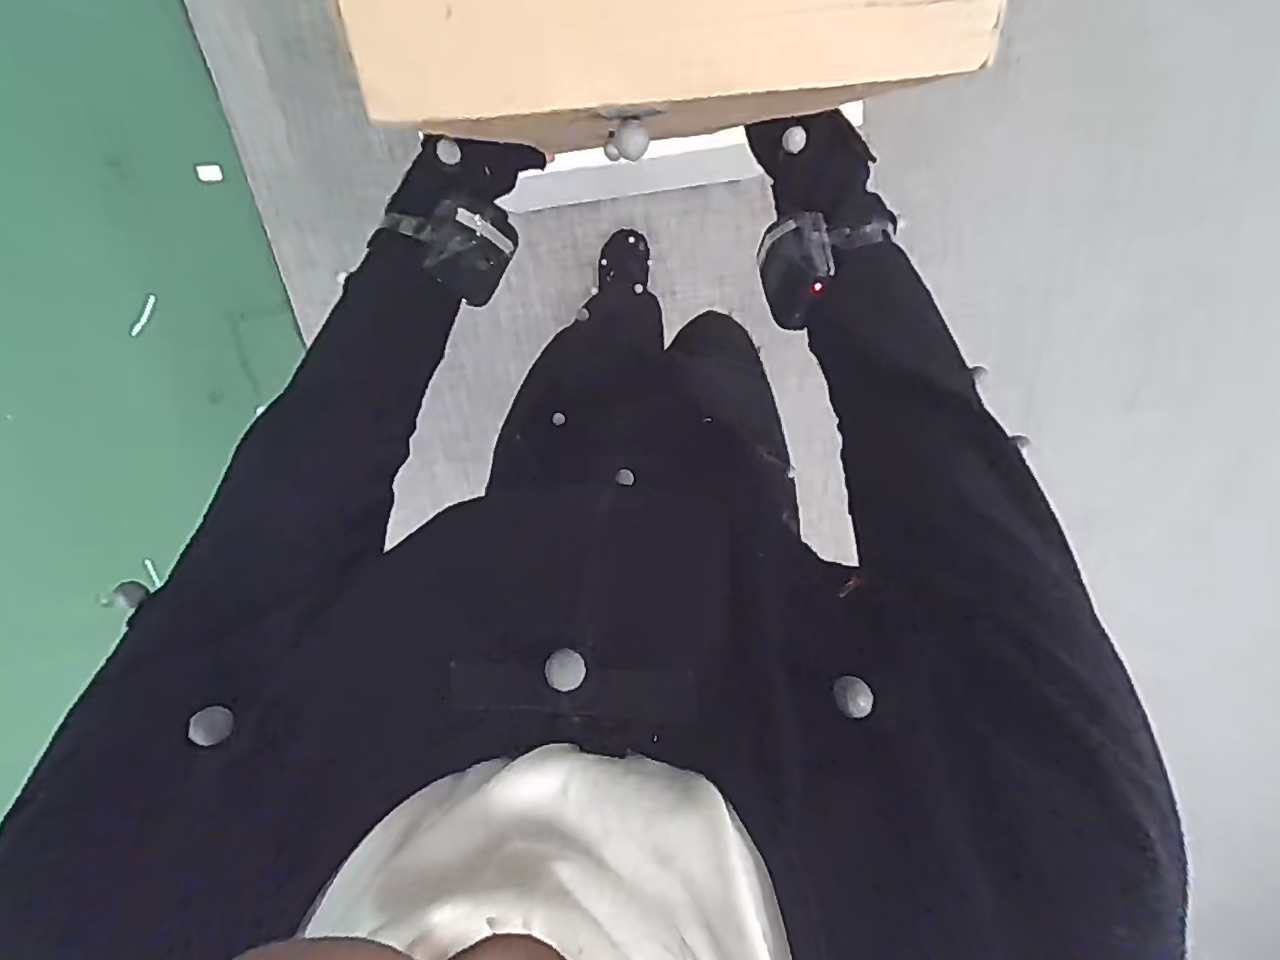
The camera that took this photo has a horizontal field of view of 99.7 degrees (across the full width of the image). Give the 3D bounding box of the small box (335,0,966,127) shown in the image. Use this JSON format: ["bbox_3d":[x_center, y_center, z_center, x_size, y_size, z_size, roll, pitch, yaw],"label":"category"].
[{"bbox_3d":[-0.002,-0.228,0.185,0.179,0.176,0.168,-5,120,0],"label":"small box"}]

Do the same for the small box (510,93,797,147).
[{"bbox_3d":[-0.007,-0.316,0.328,0.168,0.176,0.179,-8,121,2],"label":"small box"}]
